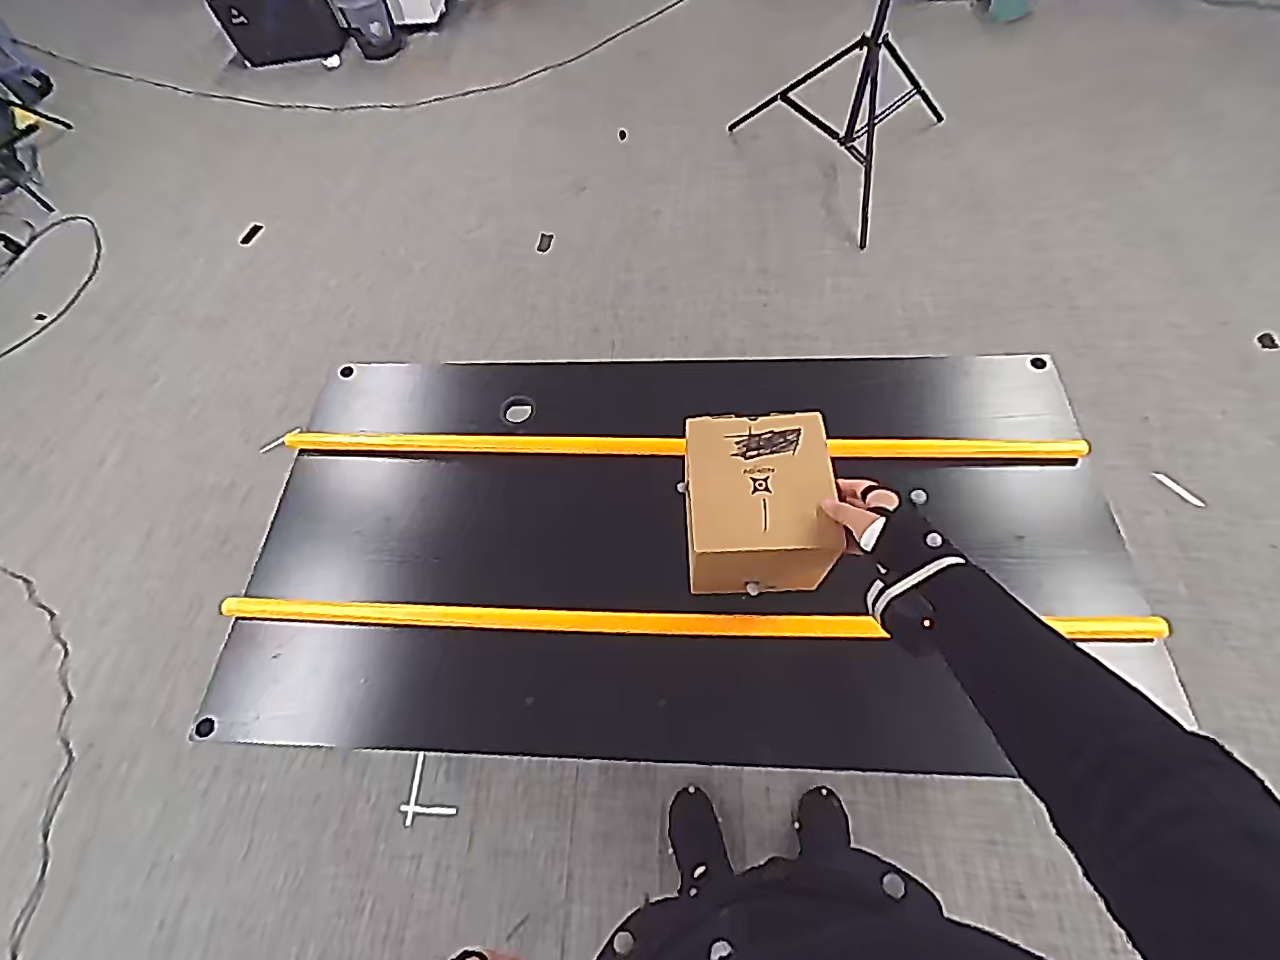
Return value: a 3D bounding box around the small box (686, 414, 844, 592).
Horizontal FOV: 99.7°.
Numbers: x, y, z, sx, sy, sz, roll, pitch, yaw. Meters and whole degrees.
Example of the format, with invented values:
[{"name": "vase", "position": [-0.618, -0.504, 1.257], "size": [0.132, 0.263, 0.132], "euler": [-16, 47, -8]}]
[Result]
[{"name": "small box", "position": [0.145, 0.035, 0.698], "size": [0.168, 0.176, 0.179], "euler": [-3, 63, 4]}]
